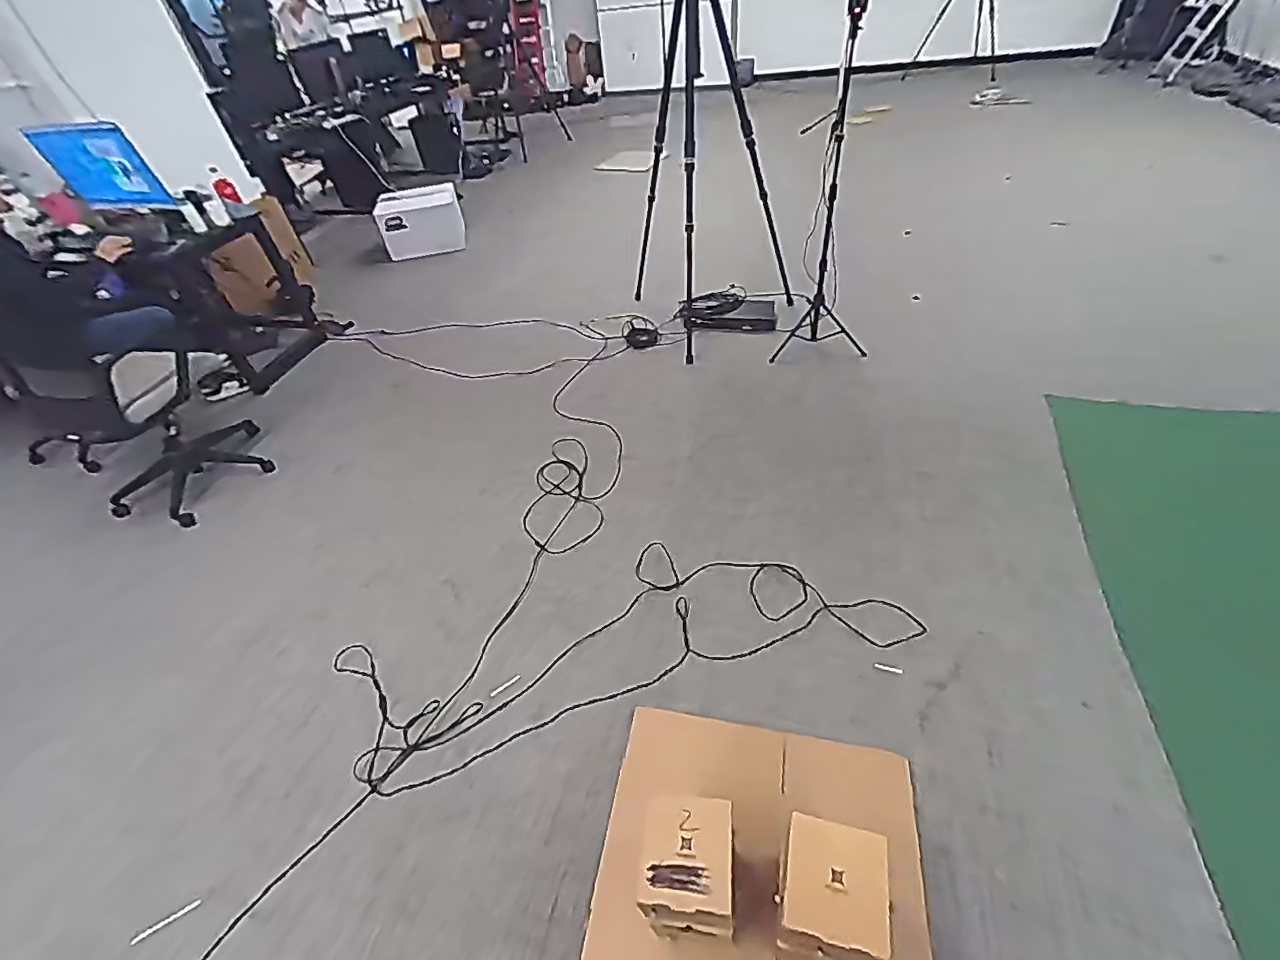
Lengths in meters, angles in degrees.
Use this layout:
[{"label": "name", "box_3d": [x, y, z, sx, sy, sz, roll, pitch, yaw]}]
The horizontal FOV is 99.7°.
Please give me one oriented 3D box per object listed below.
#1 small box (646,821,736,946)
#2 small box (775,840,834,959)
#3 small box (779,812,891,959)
[{"label": "small box", "box_3d": [0.113, 0.843, 1.126, 0.168, 0.176, 0.179, 1, 45, 10]}, {"label": "small box", "box_3d": [0.359, 0.855, 1.077, 0.168, 0.176, 0.179, 3, 46, 15]}, {"label": "small box", "box_3d": [0.343, 0.735, 0.969, 0.168, 0.176, 0.179, 6, 47, 16]}]
